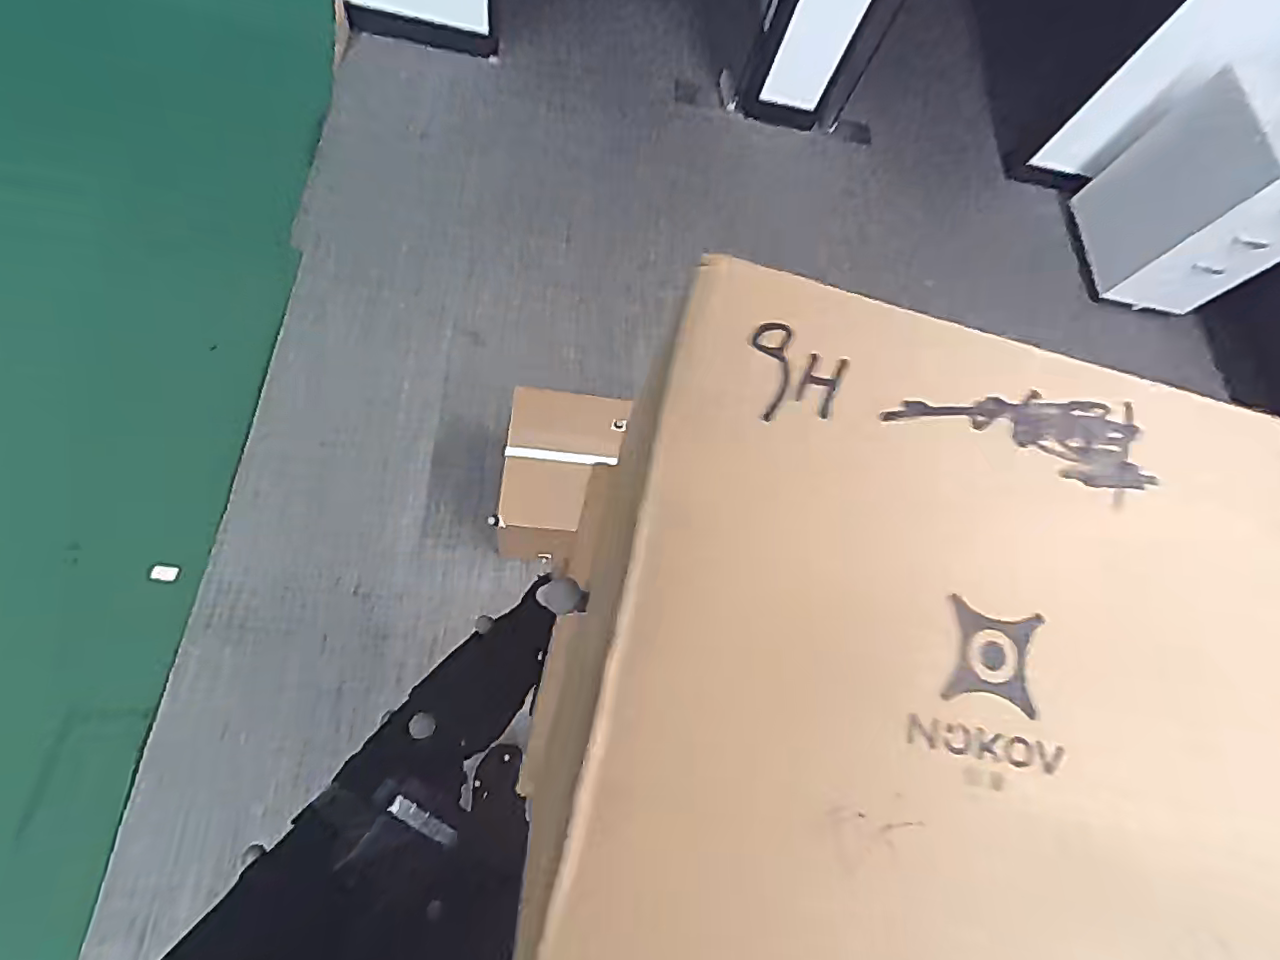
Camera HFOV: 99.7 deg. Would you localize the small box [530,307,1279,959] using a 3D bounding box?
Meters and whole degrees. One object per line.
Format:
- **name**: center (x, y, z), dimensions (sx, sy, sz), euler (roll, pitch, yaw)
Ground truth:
- **small box**: center (0.064, 0.072, 0.204), dimensions (0.168, 0.176, 0.179), euler (14, 78, -6)
